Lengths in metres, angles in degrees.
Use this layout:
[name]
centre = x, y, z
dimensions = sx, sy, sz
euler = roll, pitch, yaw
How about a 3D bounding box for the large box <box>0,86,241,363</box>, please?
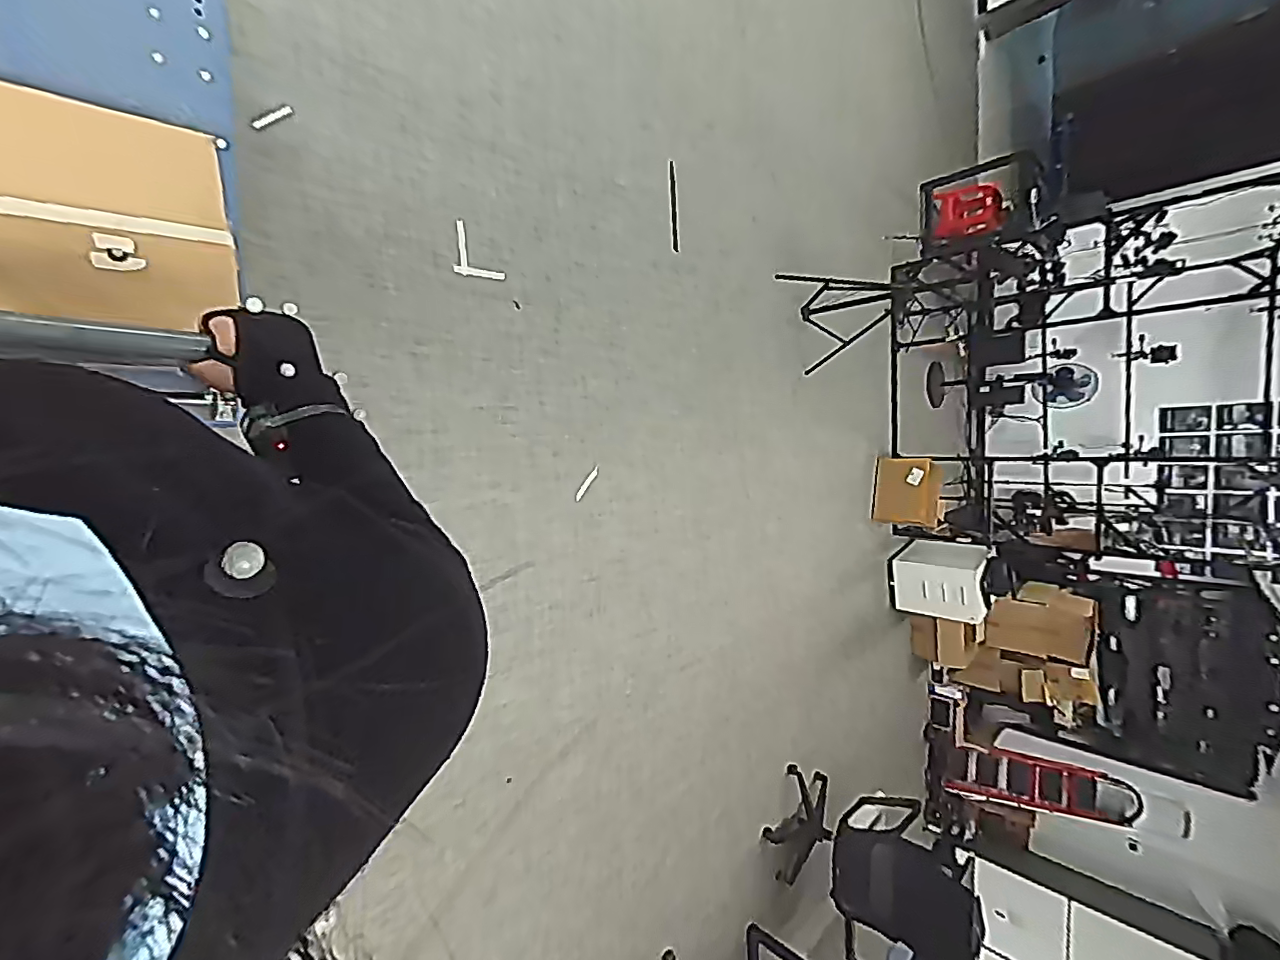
[large box]
centre = -0.900, -0.354, 0.817
dimensions = 0.408, 0.320, 0.320
euler = -10, 99, -46
